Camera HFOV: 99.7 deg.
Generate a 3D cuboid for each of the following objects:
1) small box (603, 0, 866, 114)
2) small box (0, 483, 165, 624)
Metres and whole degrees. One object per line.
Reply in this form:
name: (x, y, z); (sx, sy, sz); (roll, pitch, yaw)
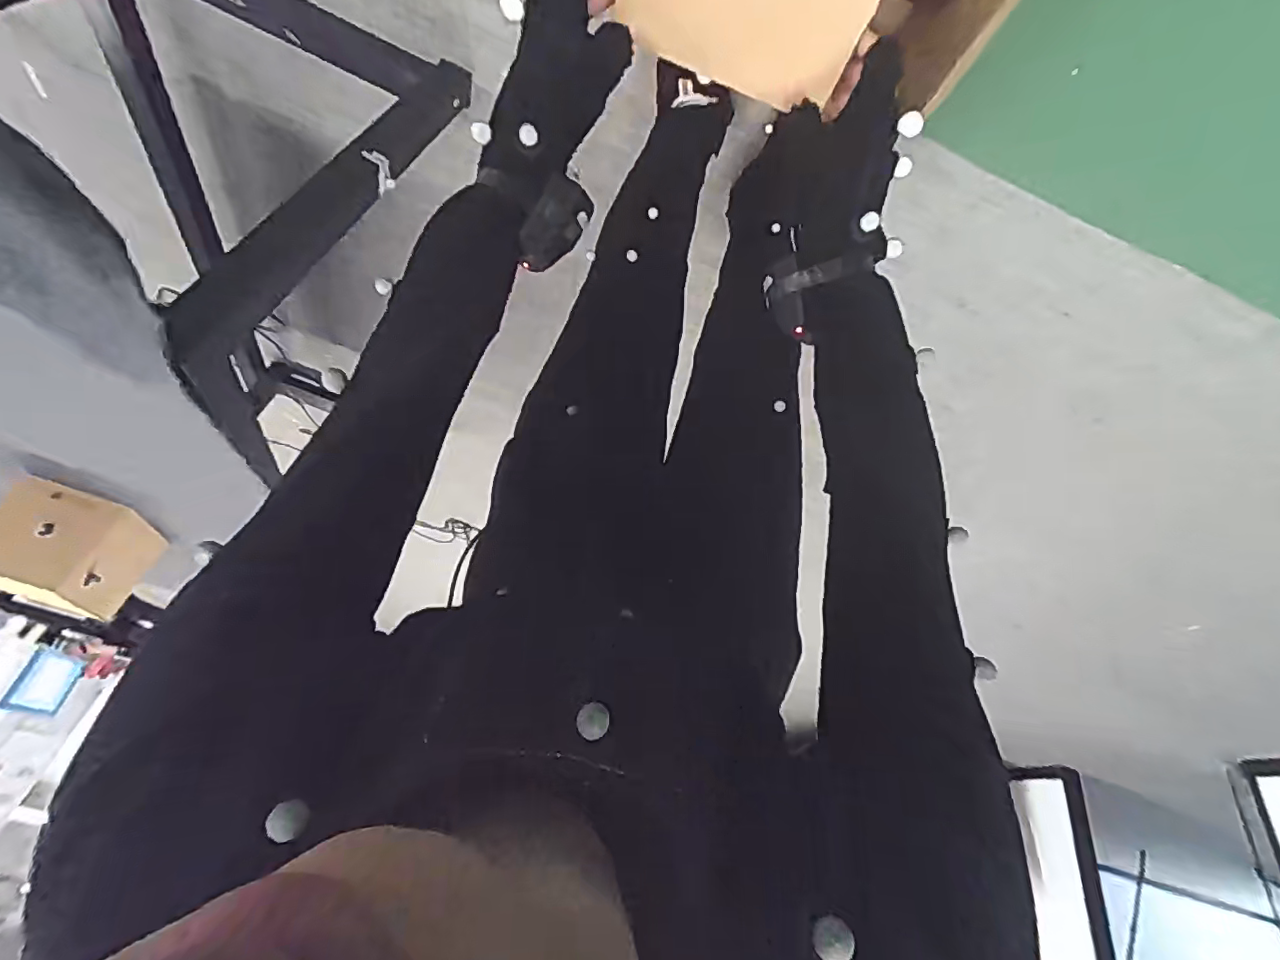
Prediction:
small box: (0.091, -0.420, 0.396); (0.179, 0.176, 0.168); (19, 145, -6)
small box: (-1.005, 0.129, 0.950); (0.168, 0.176, 0.179); (21, 147, -8)
